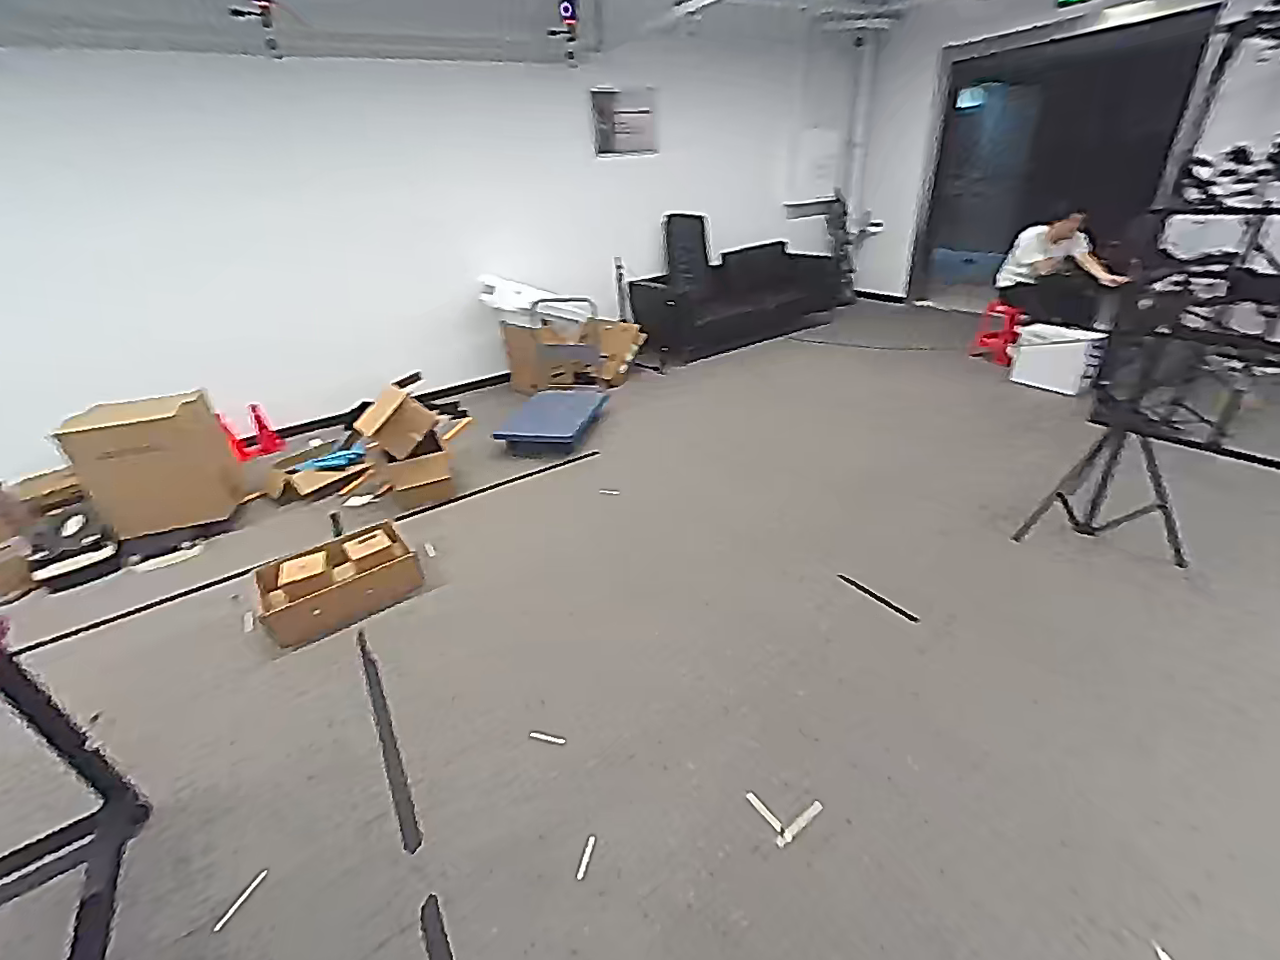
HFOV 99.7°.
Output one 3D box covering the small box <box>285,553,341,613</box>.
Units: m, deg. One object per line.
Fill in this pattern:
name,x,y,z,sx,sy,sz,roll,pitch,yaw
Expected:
small box,-1.436,0.454,2.382,0.168,0.176,0.179,-17,30,-22
